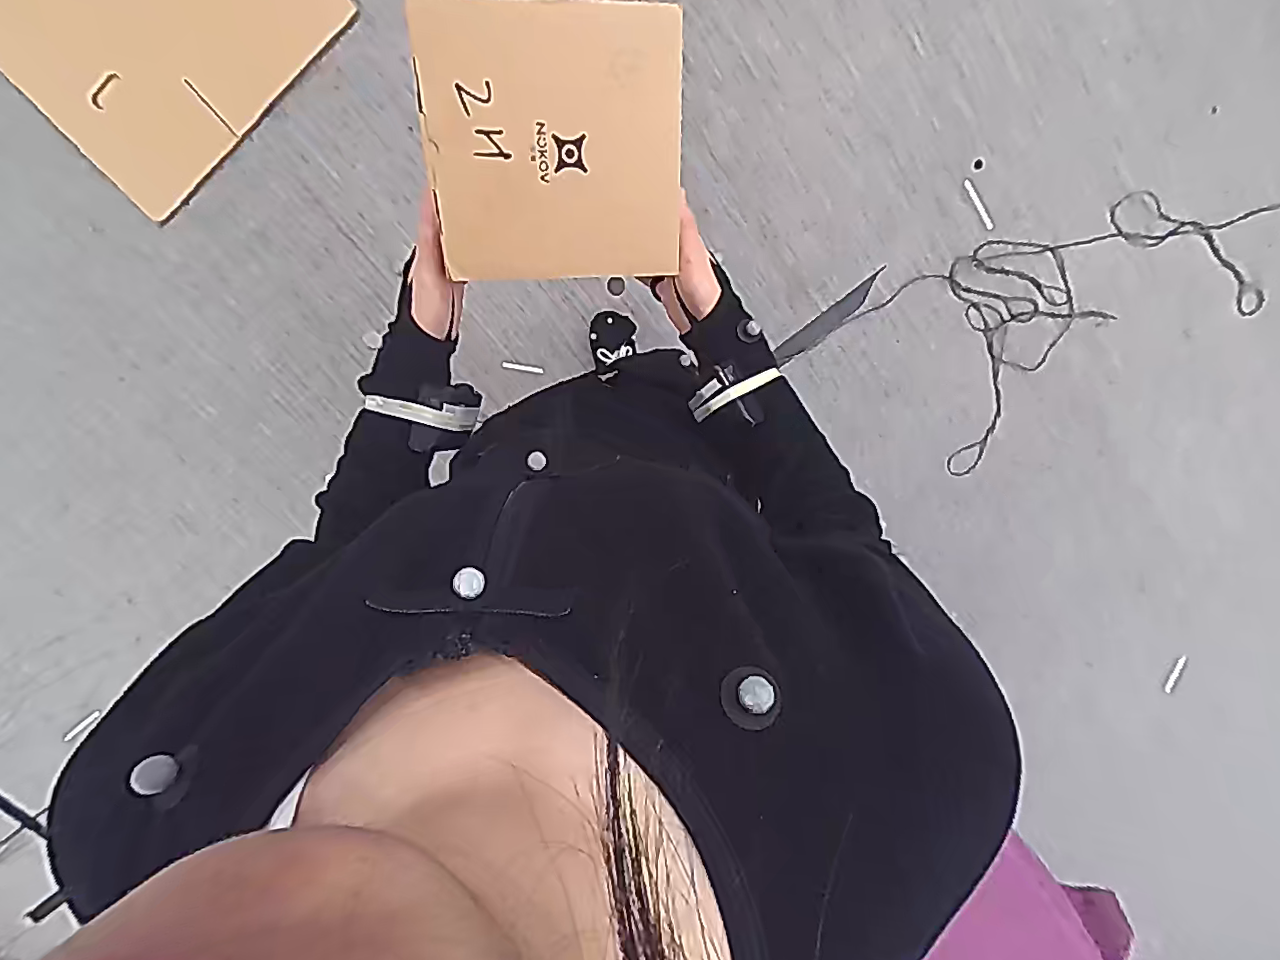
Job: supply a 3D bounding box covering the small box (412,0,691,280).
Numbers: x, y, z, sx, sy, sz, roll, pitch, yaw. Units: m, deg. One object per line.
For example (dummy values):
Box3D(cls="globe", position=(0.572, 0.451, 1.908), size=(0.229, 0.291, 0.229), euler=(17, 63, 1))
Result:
Box3D(cls="small box", position=(-0.065, -0.260, 0.441), size=(0.179, 0.176, 0.168), euler=(-4, 116, -7))
